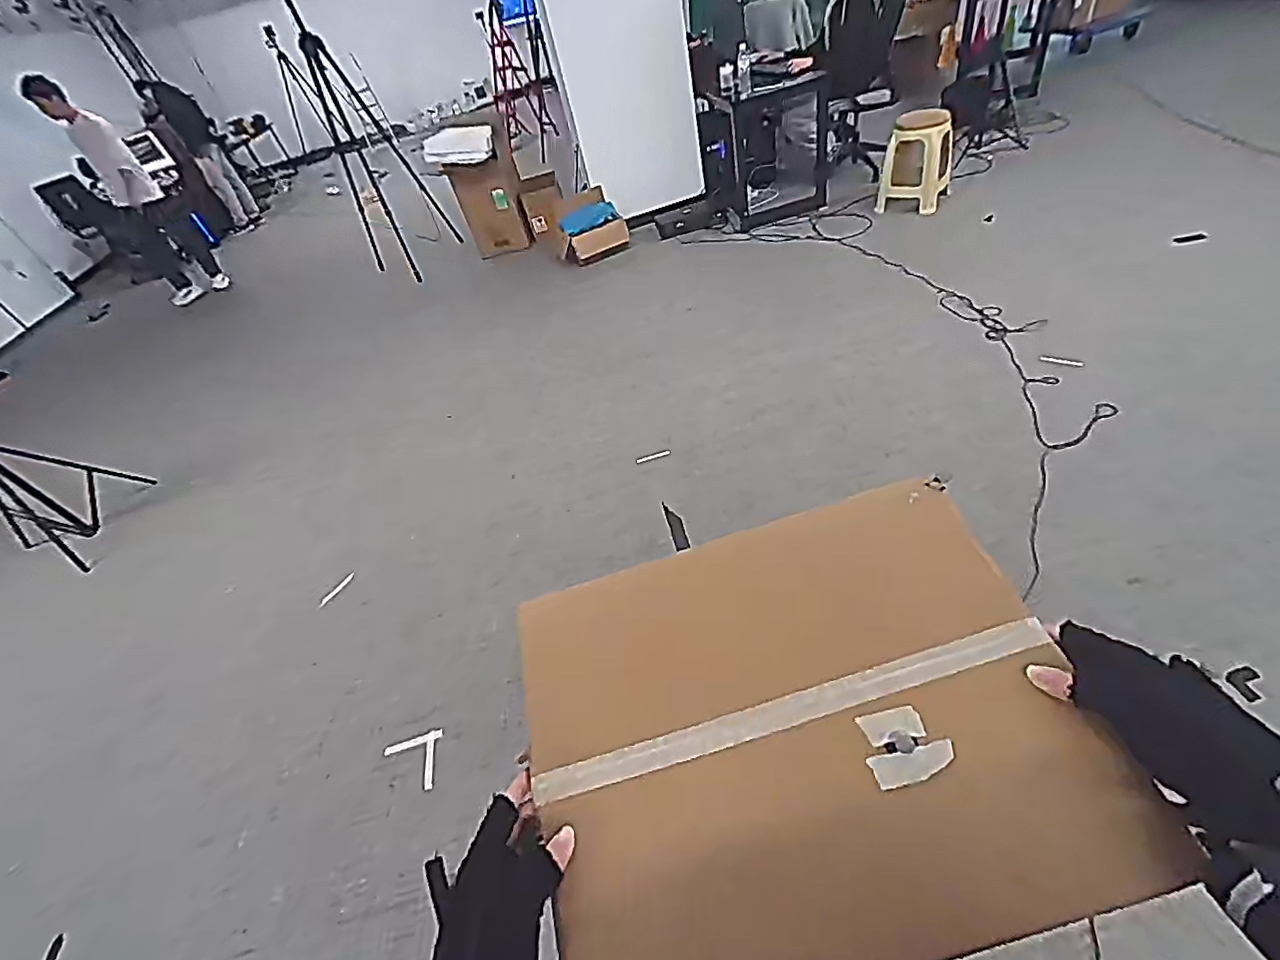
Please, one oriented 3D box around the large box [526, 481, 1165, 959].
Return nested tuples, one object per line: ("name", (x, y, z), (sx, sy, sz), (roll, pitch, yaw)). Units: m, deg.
("large box", (0.142, 0.262, 0.553), (0.408, 0.320, 0.320), (-18, 55, 1))
